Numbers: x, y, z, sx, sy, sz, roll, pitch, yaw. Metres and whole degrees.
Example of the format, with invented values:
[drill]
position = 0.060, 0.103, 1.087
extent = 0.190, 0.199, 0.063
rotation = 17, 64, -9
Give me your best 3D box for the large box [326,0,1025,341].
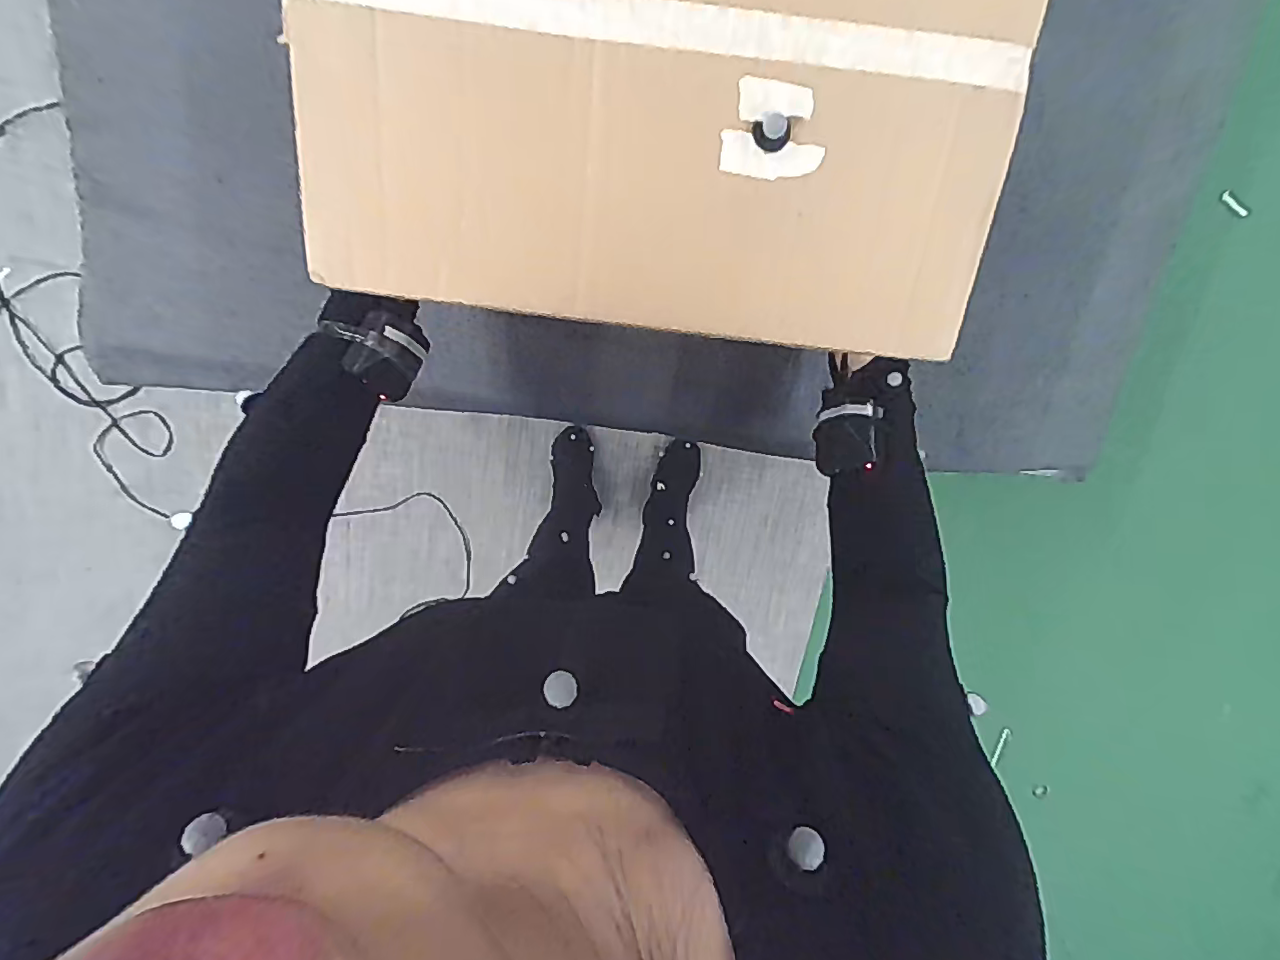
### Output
[large box]
position = 0.016, -0.296, 0.457
extent = 0.408, 0.320, 0.320
rotation = 6, 107, -2
